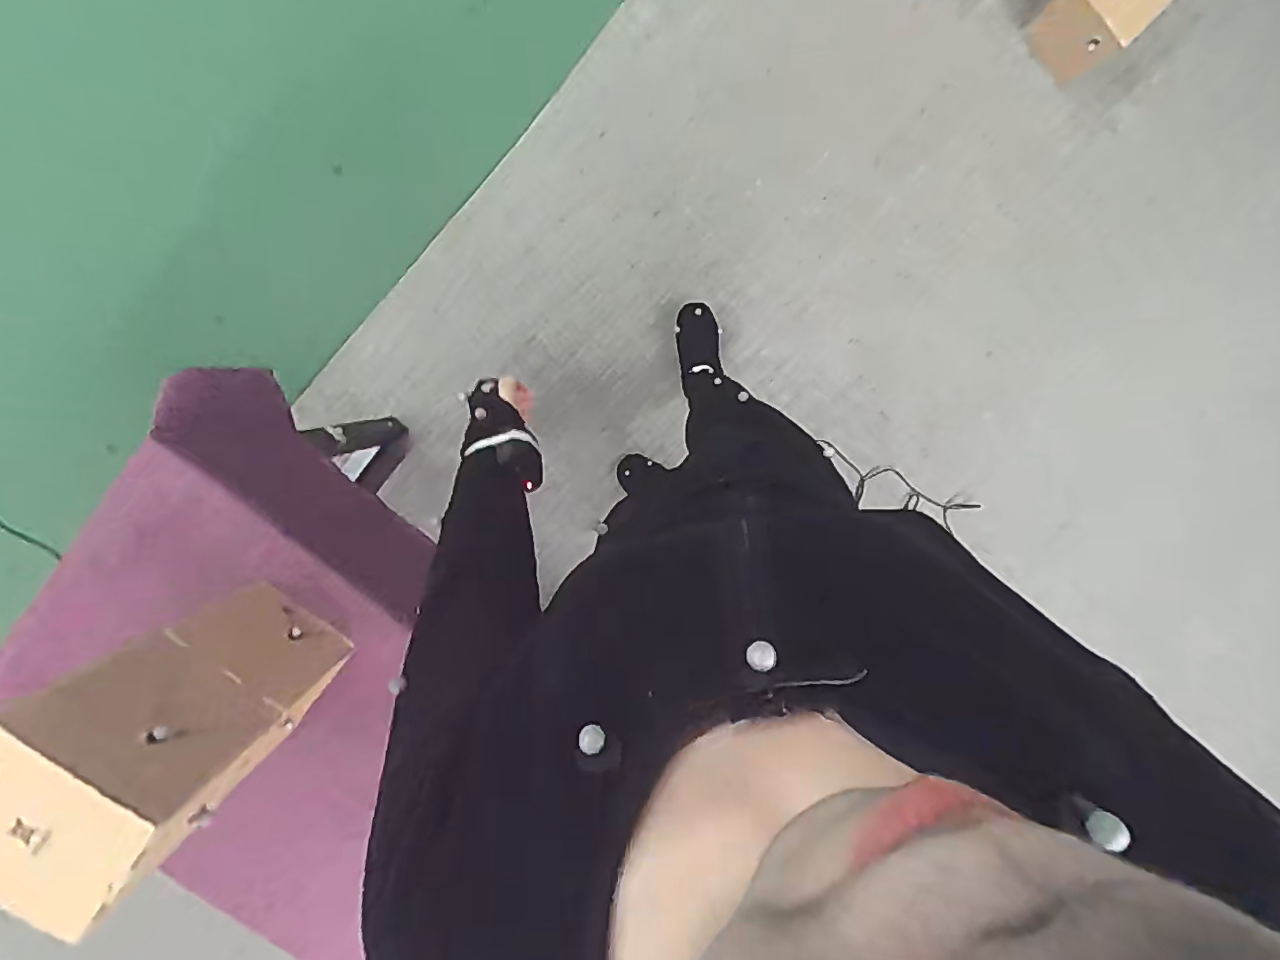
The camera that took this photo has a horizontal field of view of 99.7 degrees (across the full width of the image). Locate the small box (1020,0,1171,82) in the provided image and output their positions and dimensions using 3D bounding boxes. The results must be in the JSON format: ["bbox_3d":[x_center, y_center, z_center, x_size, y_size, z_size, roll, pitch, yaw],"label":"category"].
[{"bbox_3d":[1.017,-1.045,1.210,0.179,0.176,0.168,44,97,-7],"label":"small box"}]

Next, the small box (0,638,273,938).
[{"bbox_3d":[-0.537,0.298,0.558,0.179,0.176,0.168,38,97,-6],"label":"small box"}]

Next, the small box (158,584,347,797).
[{"bbox_3d":[-0.536,0.273,0.721,0.168,0.176,0.179,38,97,-6],"label":"small box"}]
